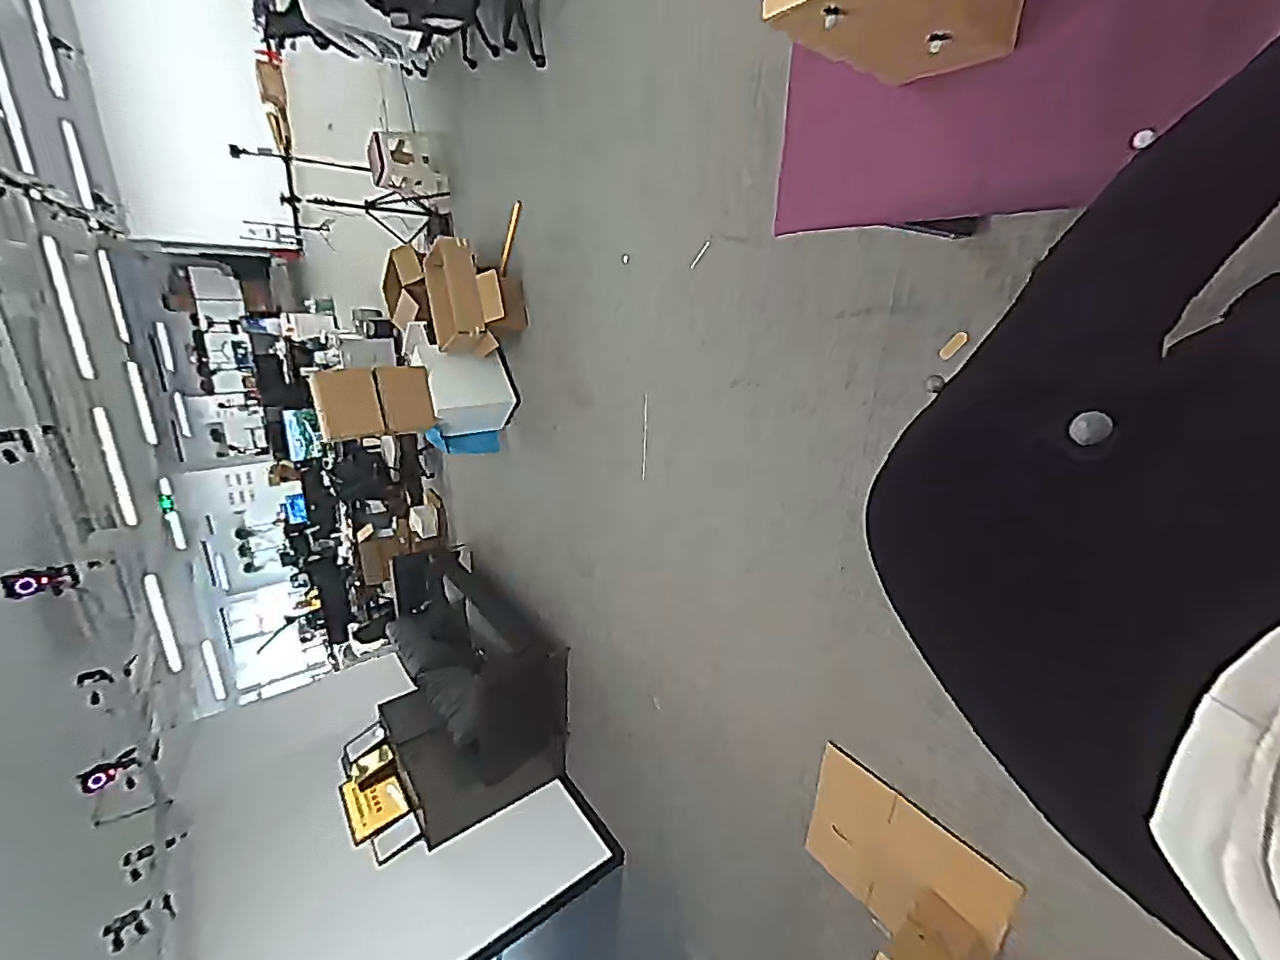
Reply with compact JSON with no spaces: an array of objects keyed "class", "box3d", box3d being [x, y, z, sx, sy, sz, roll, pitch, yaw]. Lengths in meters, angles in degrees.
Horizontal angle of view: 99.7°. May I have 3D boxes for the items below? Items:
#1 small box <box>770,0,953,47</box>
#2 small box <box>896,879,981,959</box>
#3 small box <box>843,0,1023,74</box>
[{"class":"small box","box3d":[0.285,-0.660,0.648,0.179,0.176,0.168,26,121,48]},{"class":"small box","box3d":[1.013,1.518,1.831,0.179,0.176,0.168,33,125,46]},{"class":"small box","box3d":[0.414,-0.692,0.740,0.179,0.176,0.168,26,120,48]}]
